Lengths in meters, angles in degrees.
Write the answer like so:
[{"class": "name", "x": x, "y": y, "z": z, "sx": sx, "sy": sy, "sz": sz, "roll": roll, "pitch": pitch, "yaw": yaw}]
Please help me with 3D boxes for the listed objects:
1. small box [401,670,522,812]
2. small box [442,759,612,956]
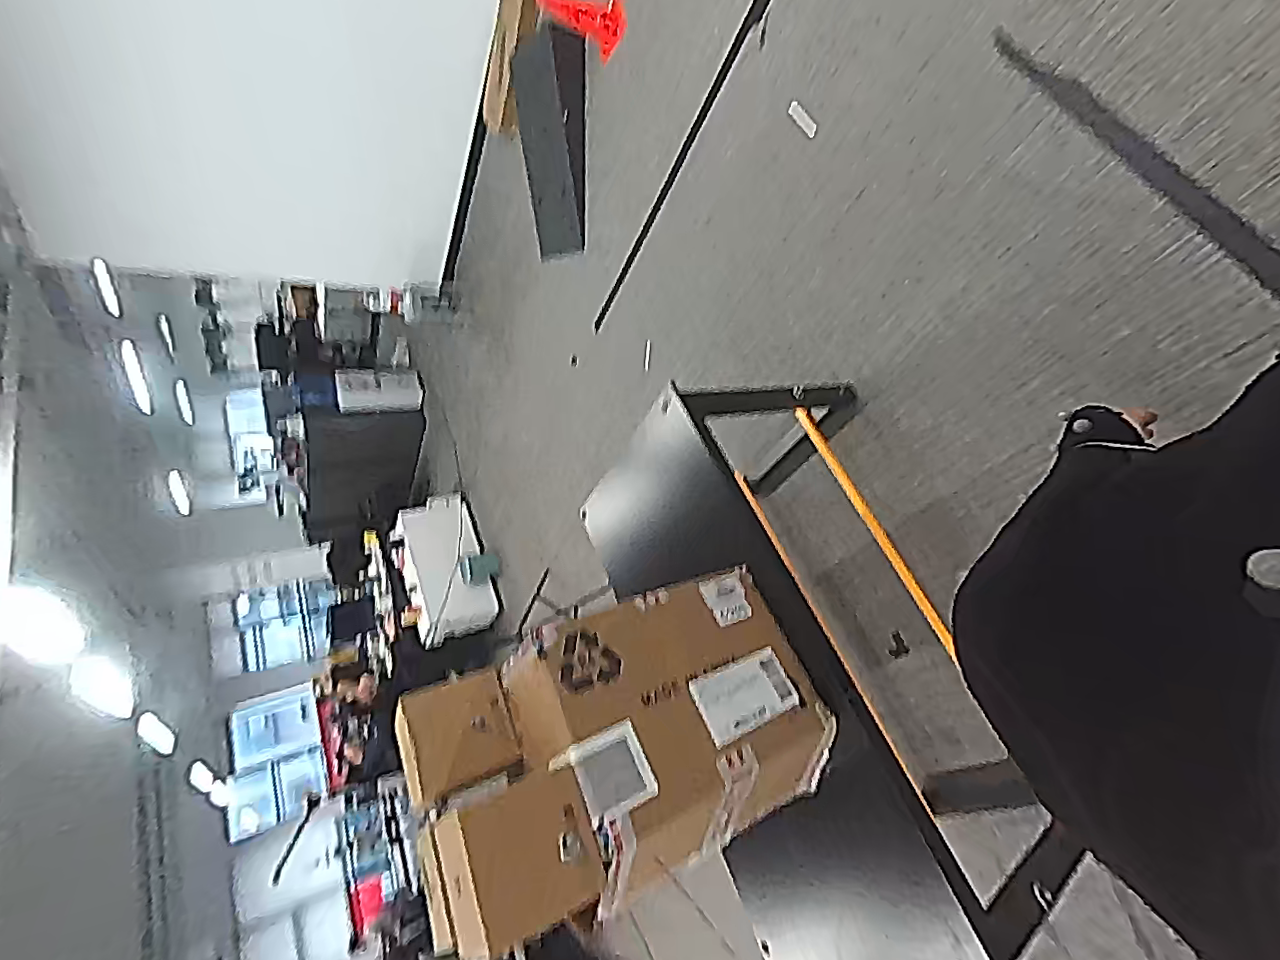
[{"class": "small box", "x": -0.329, "y": 0.476, "z": 0.993, "sx": 0.168, "sy": 0.176, "sz": 0.179, "roll": 62, "pitch": 143, "yaw": 25}, {"class": "small box", "x": -0.162, "y": 0.523, "z": 0.760, "sx": 0.179, "sy": 0.176, "sz": 0.168, "roll": -55, "pitch": 53, "yaw": 43}]
